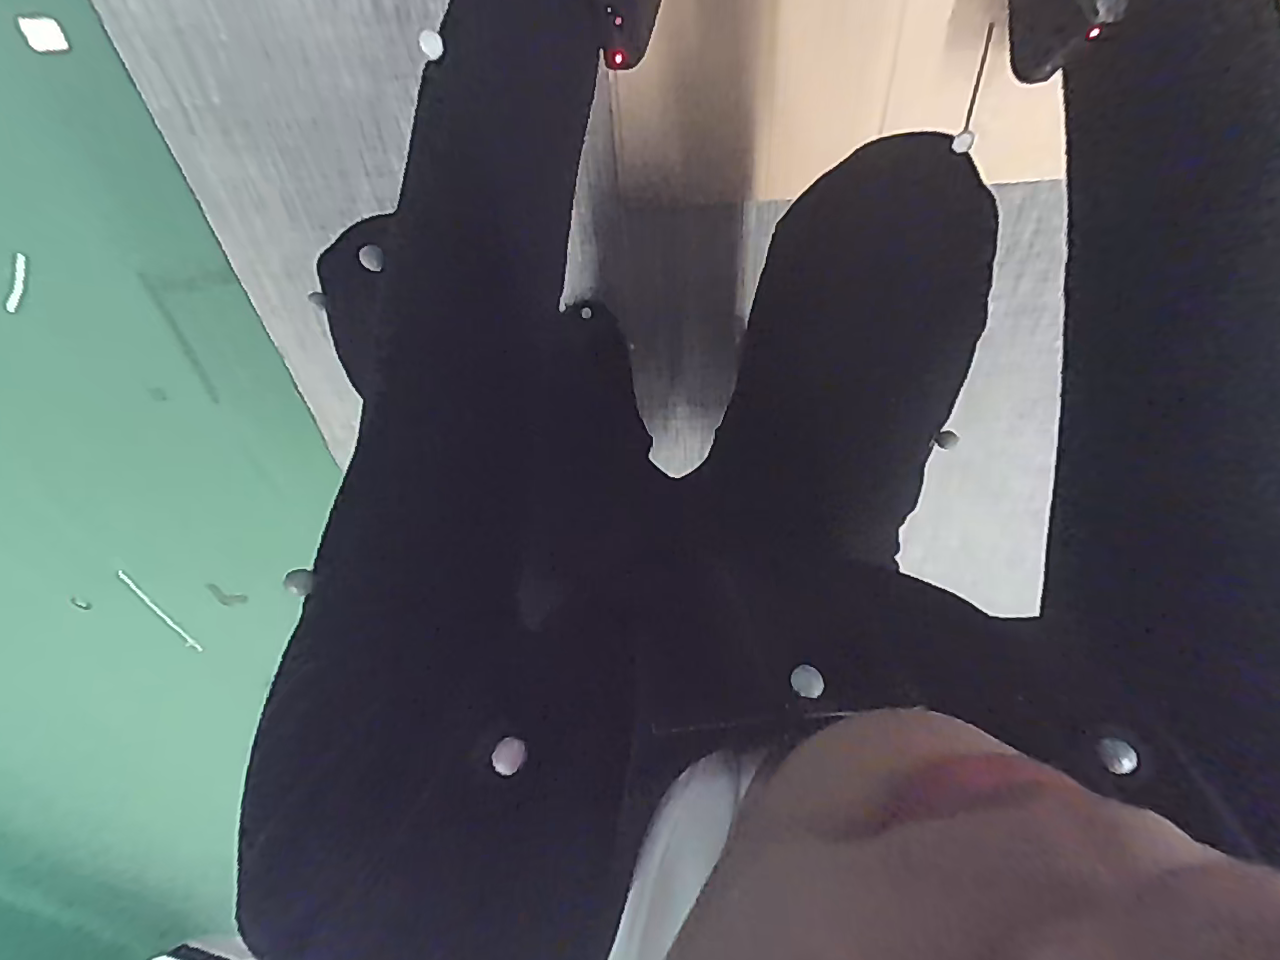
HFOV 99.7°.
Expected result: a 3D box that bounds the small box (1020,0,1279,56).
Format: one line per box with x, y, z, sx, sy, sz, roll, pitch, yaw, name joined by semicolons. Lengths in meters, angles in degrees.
0.478;-0.467;0.457;0.179;0.176;0.168;1;129;3;small box
